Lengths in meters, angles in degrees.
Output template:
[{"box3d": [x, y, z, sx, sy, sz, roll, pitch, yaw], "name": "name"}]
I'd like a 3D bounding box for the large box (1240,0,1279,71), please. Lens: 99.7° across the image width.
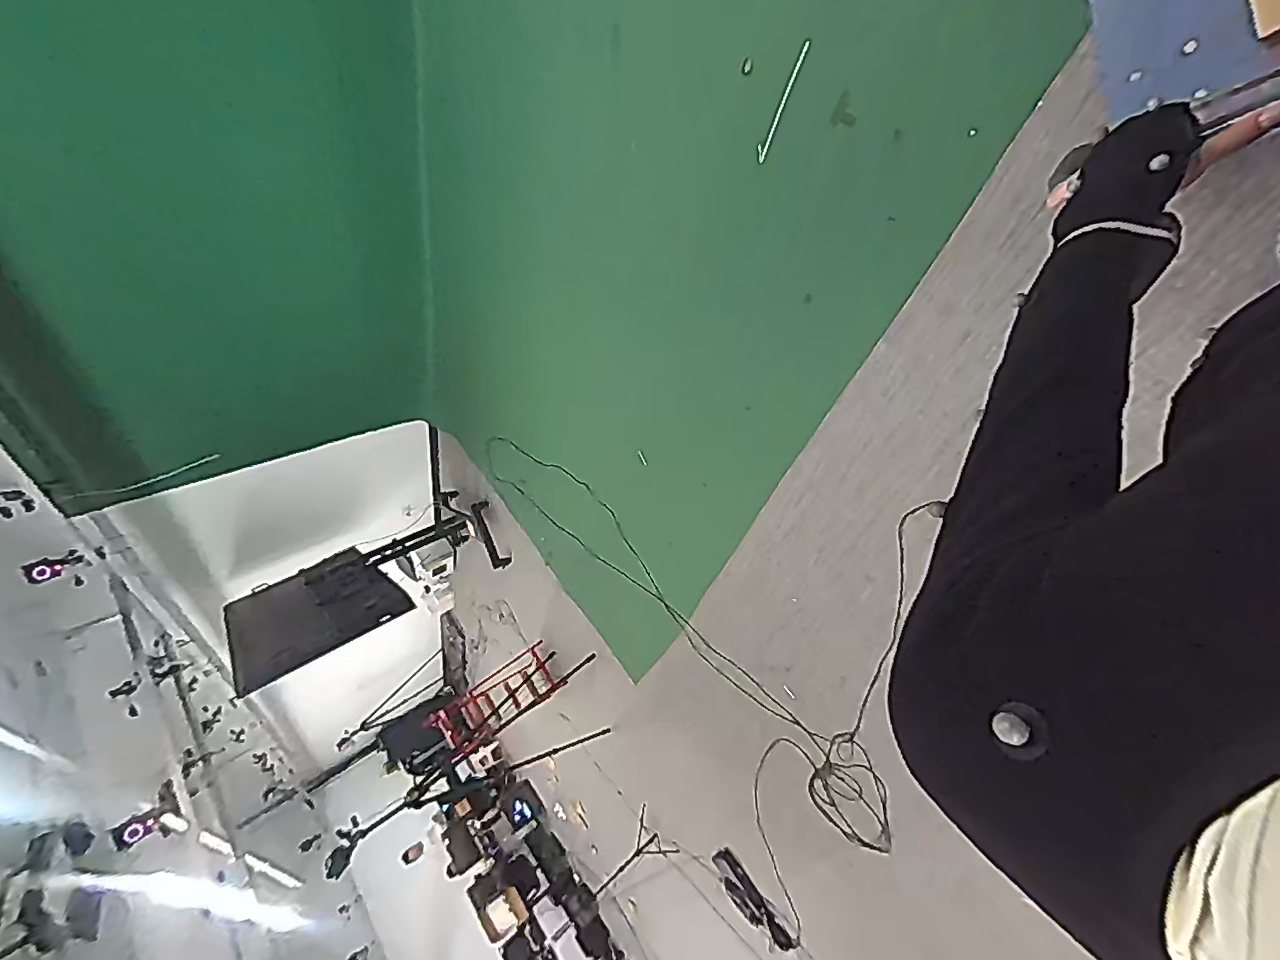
[{"box3d": [0.939, -0.804, 0.646, 0.320, 0.320, 0.408, -10, 100, 54], "name": "large box"}]
